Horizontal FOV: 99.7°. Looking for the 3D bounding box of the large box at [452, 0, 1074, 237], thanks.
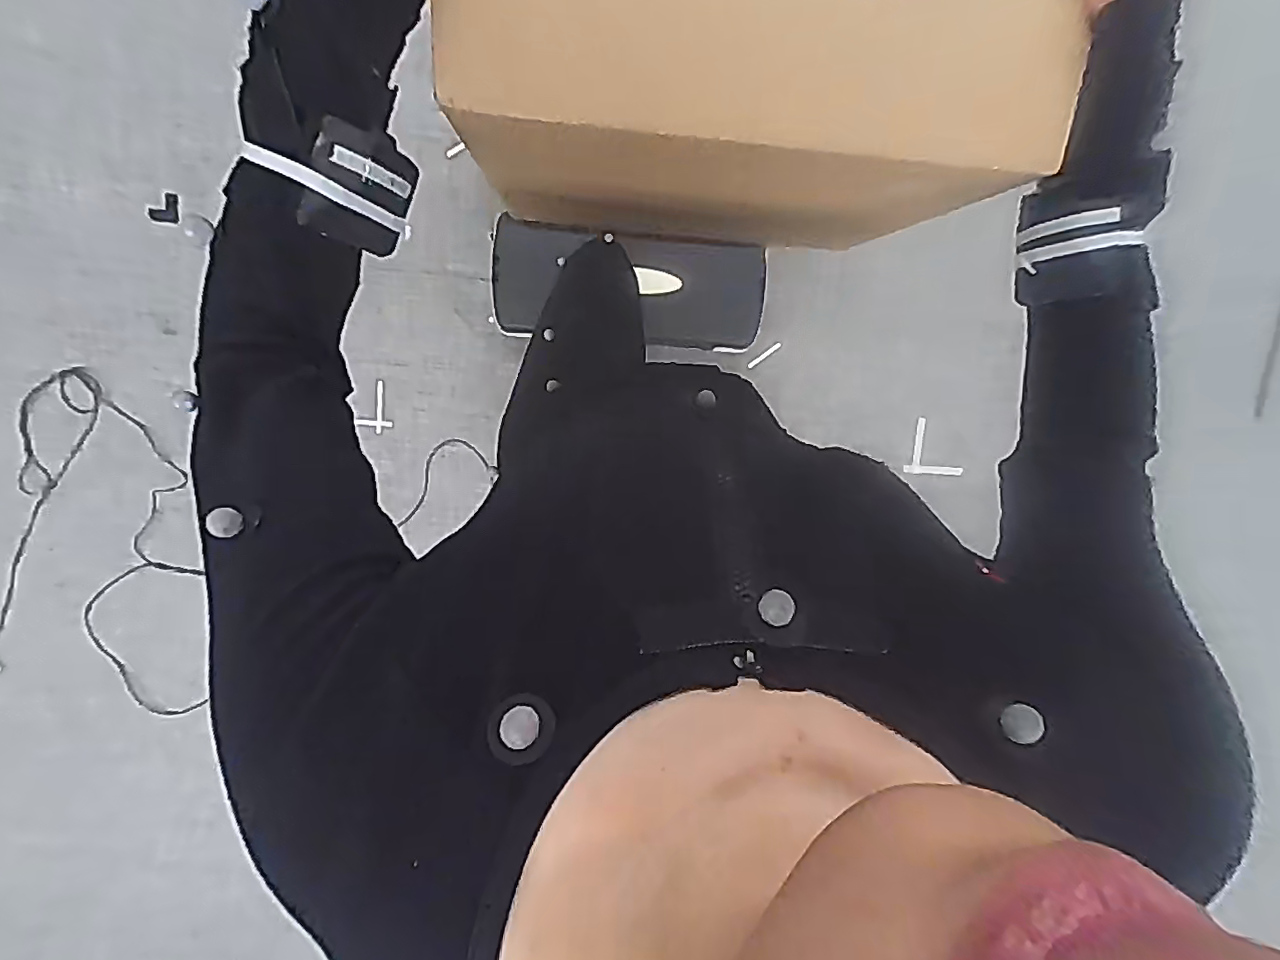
[{"bbox_3d":[0.073,-0.411,0.462,0.408,0.320,0.320,2,105,-6],"label":"large box"}]
